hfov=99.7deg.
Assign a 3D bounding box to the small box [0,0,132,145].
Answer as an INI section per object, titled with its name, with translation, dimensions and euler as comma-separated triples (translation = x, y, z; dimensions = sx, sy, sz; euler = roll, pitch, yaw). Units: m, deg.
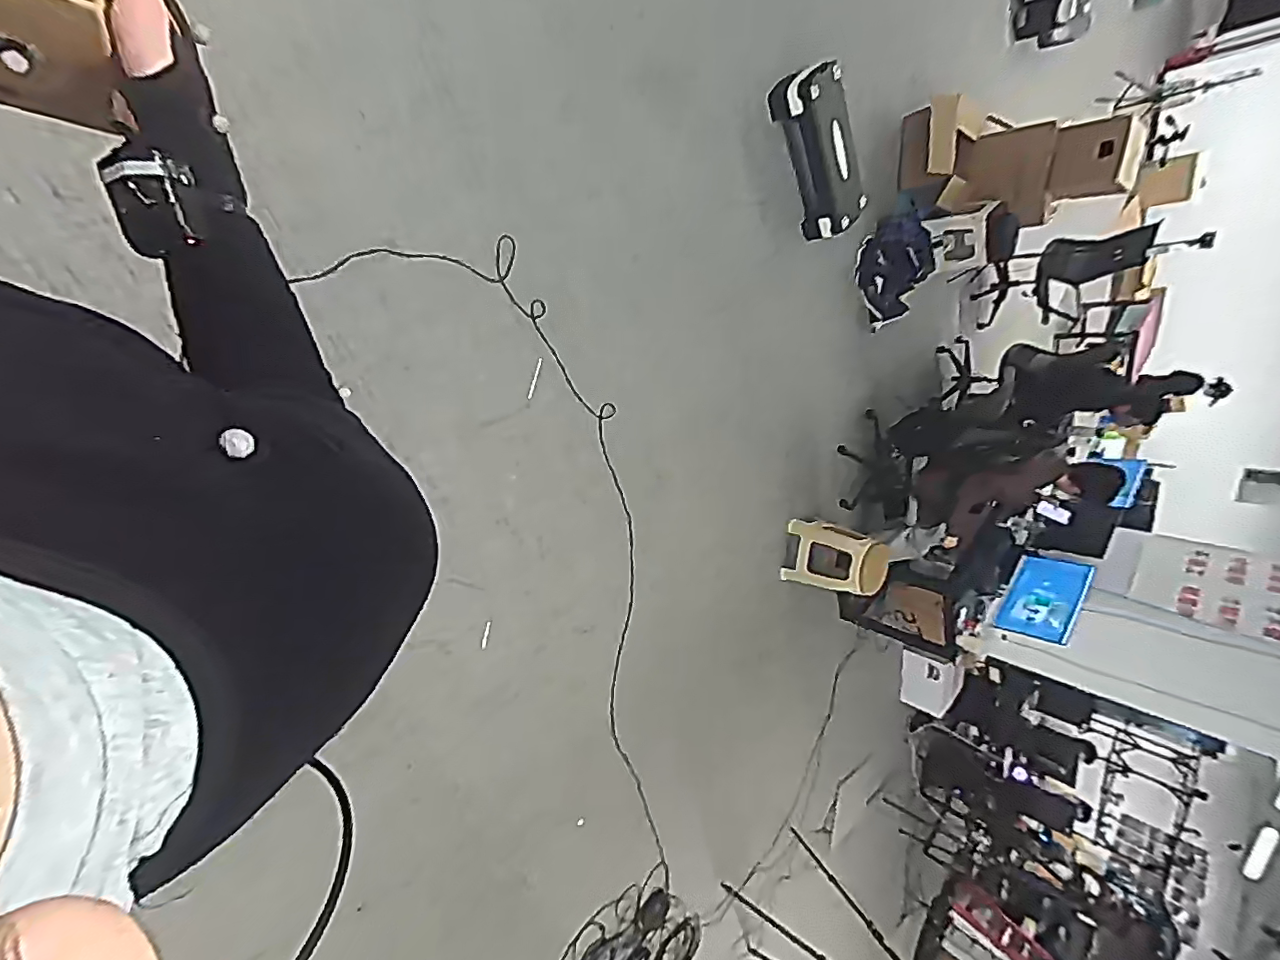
[small box]
translation = -0.434, -0.354, 0.337
dimensions = 0.168, 0.176, 0.179
euler = -2, 90, -42
